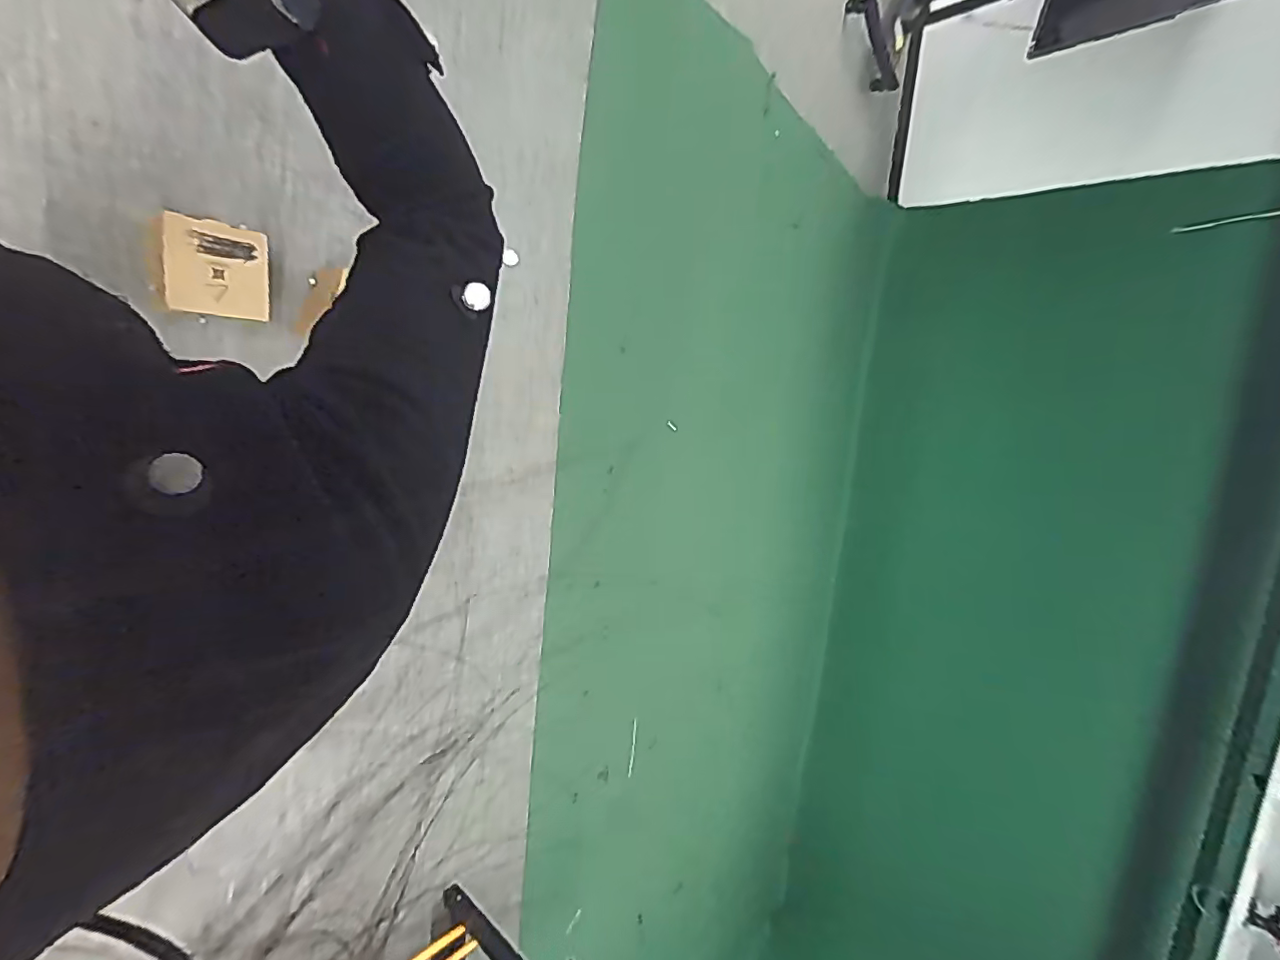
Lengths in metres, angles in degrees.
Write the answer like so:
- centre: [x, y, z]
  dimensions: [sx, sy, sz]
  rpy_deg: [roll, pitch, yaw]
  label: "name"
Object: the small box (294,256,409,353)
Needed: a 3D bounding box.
- centre: [-0.706, -0.420, 1.319]
  dimensions: [0.179, 0.176, 0.168]
  rpy_deg: [19, 86, -53]
  label: "small box"
